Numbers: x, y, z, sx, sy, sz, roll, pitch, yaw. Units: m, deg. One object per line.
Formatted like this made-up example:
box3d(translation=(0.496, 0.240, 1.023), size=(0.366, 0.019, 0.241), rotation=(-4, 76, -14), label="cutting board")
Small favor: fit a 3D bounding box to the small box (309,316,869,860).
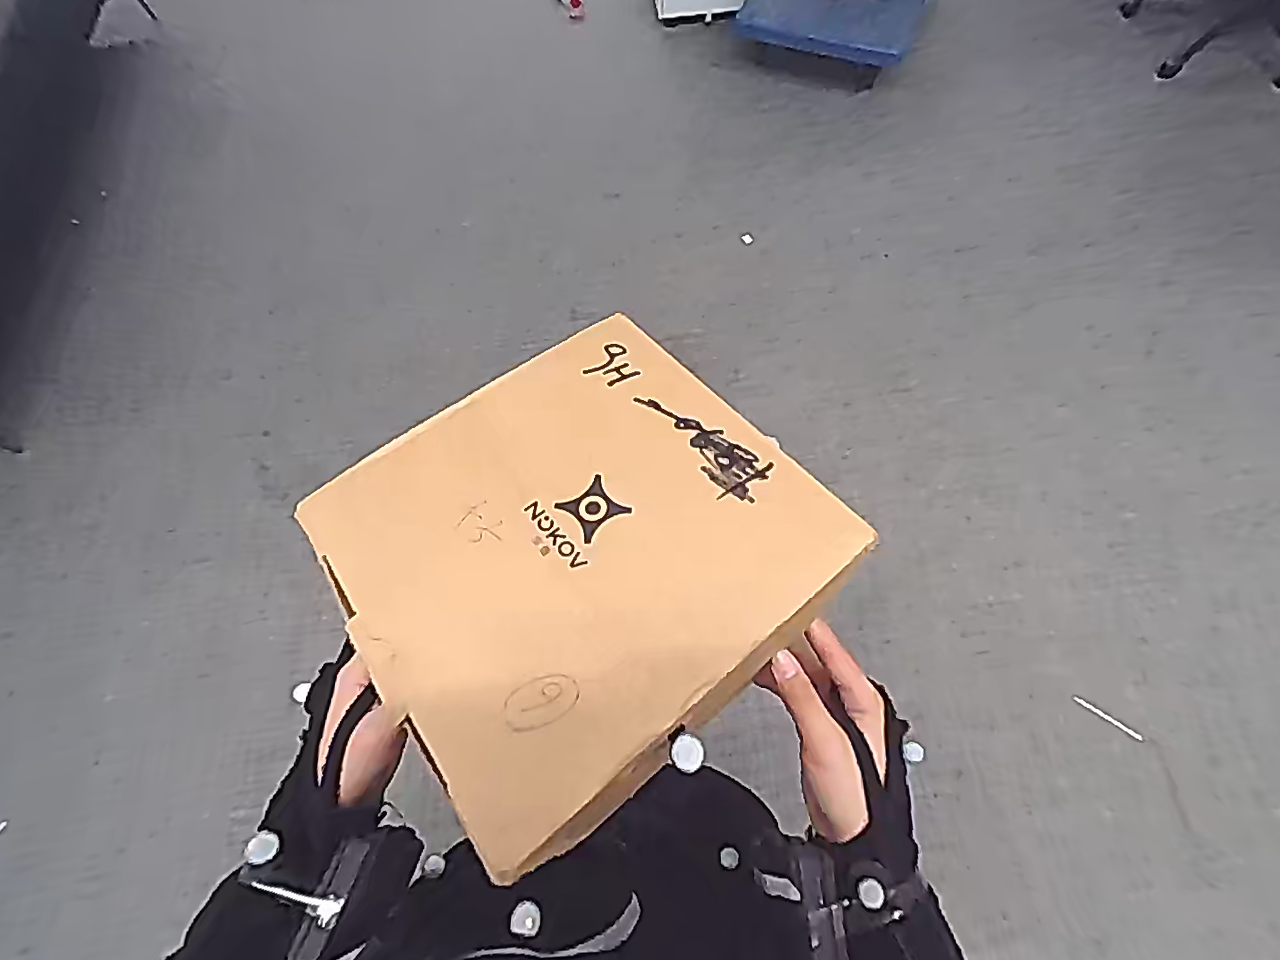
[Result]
box3d(translation=(-0.021, 0.057, 0.286), size=(0.179, 0.176, 0.168), rotation=(-35, 63, -16), label="small box")
